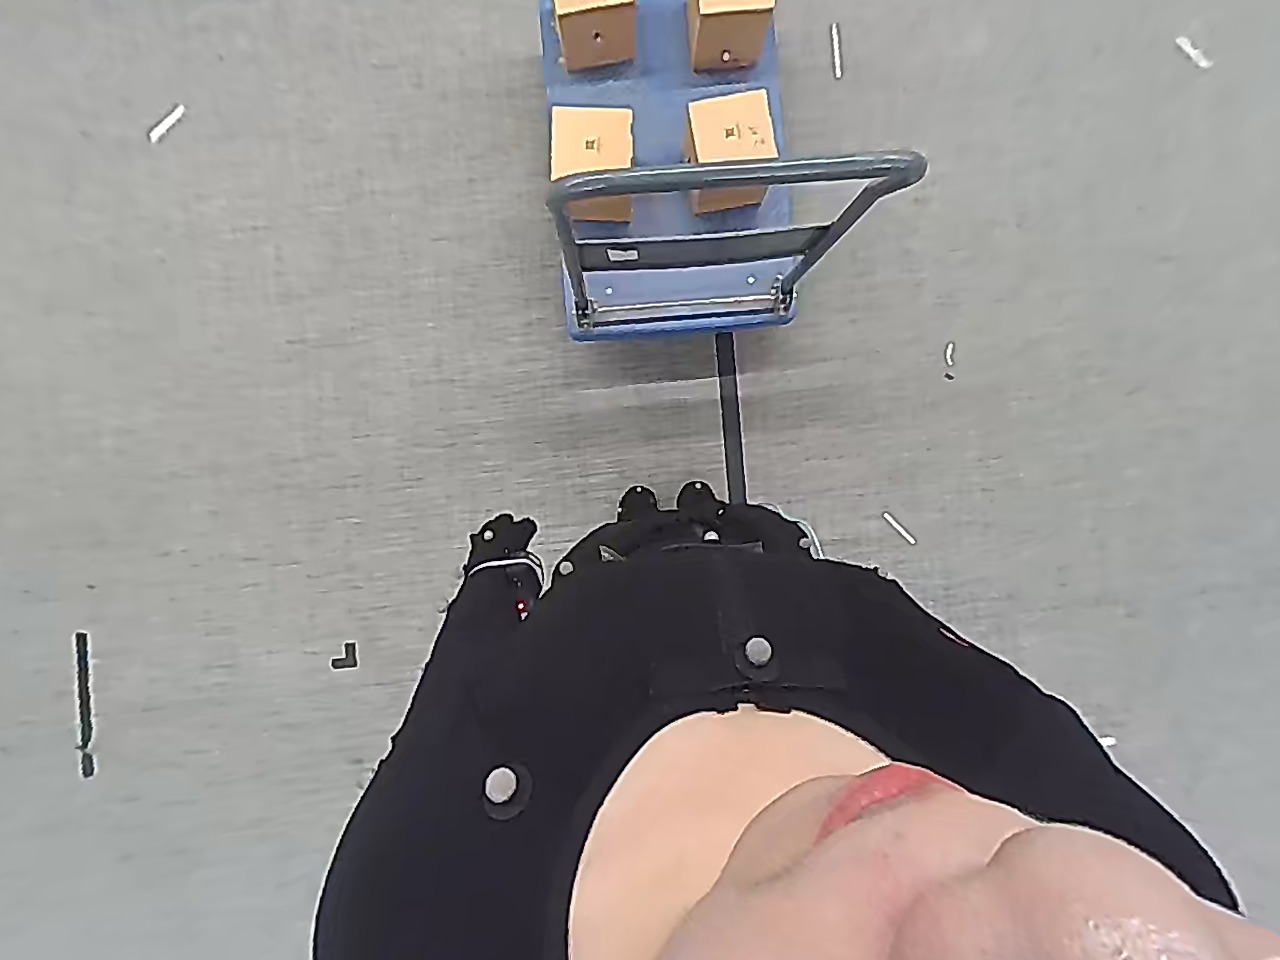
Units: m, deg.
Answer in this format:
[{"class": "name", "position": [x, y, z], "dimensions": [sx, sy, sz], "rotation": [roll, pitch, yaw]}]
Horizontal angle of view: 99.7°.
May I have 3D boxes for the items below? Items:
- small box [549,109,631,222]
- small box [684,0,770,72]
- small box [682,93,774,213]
[{"class": "small box", "position": [-0.110, -0.719, 1.252], "dimensions": [0.179, 0.176, 0.168], "rotation": [1, 89, -2]}, {"class": "small box", "position": [0.196, -1.100, 1.258], "dimensions": [0.168, 0.176, 0.179], "rotation": [-5, 91, 0]}, {"class": "small box", "position": [0.195, -0.748, 1.256], "dimensions": [0.179, 0.176, 0.168], "rotation": [-10, 90, -1]}]
